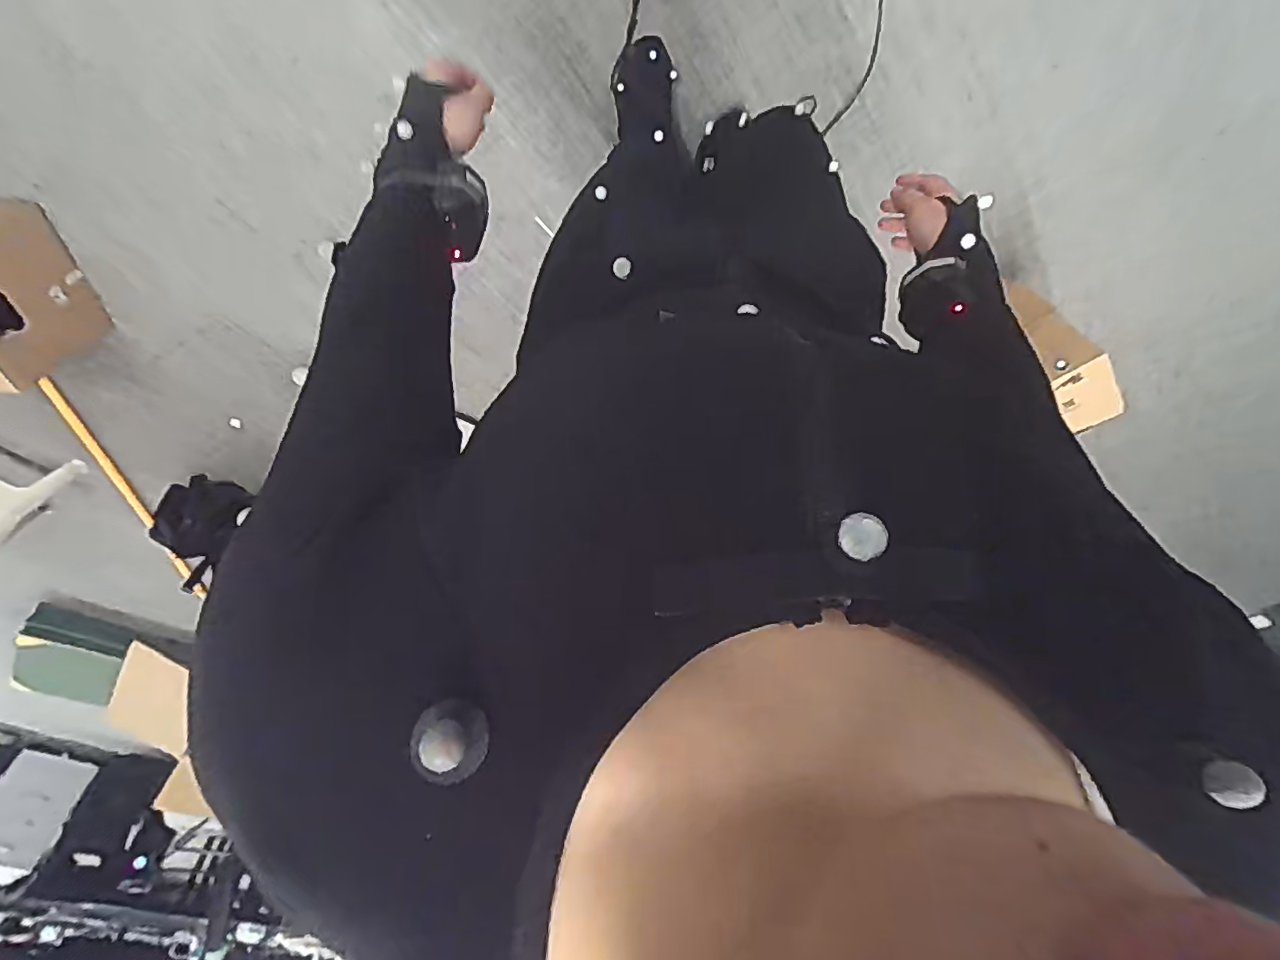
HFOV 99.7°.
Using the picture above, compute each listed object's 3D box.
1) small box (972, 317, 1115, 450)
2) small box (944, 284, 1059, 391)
[{"bbox_3d":[0.834,-0.201,1.126,0.168,0.176,0.179,-32,127,25],"label":"small box"},{"bbox_3d":[0.841,-0.314,1.245,0.168,0.176,0.179,-32,125,25],"label":"small box"}]
